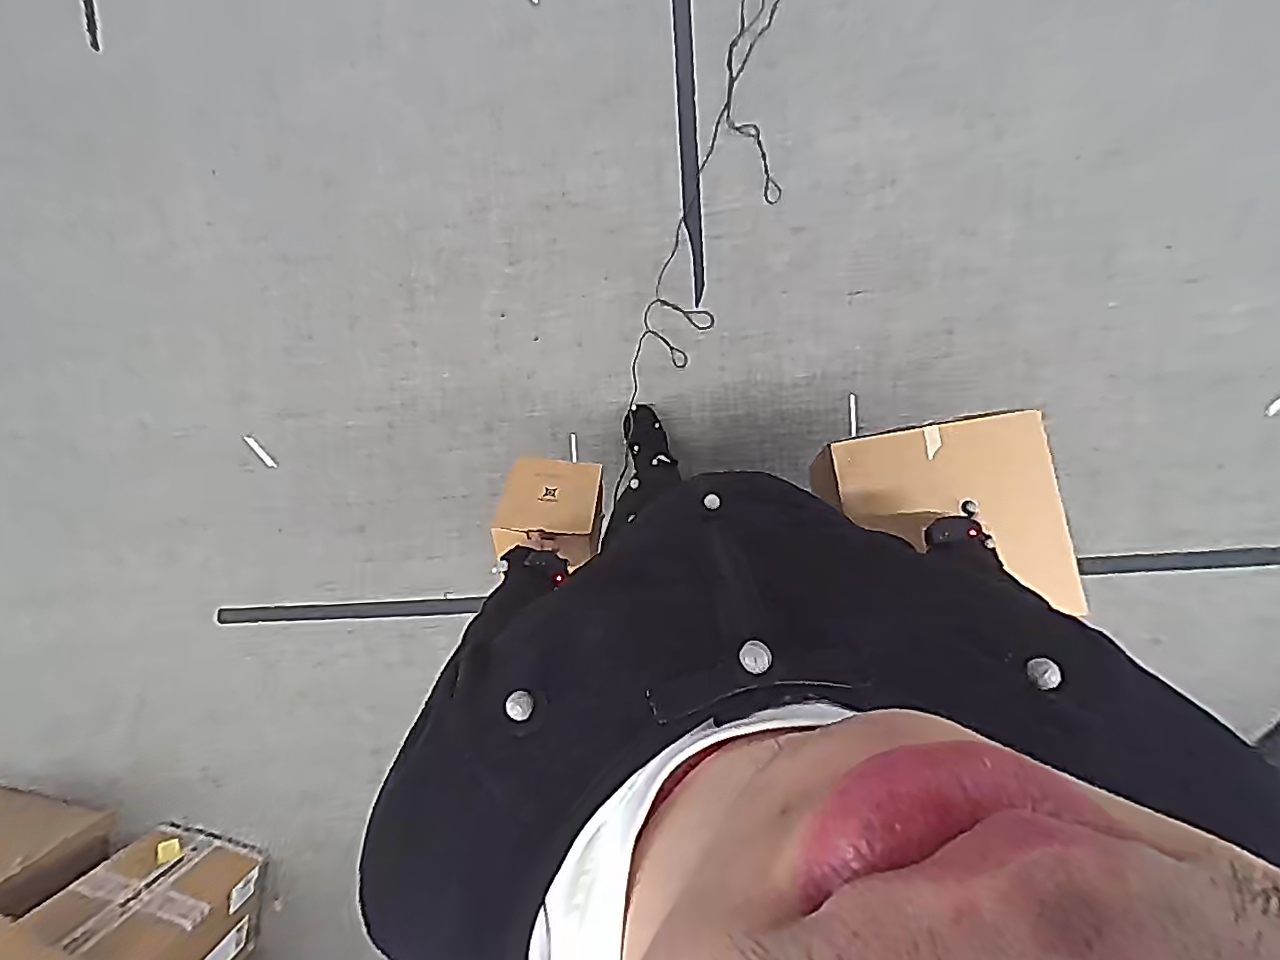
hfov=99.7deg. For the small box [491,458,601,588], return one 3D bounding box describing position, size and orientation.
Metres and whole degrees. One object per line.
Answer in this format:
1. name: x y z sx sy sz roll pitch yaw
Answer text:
1. small box: -0.163 0.082 1.004 0.168 0.179 0.176 4 133 0
